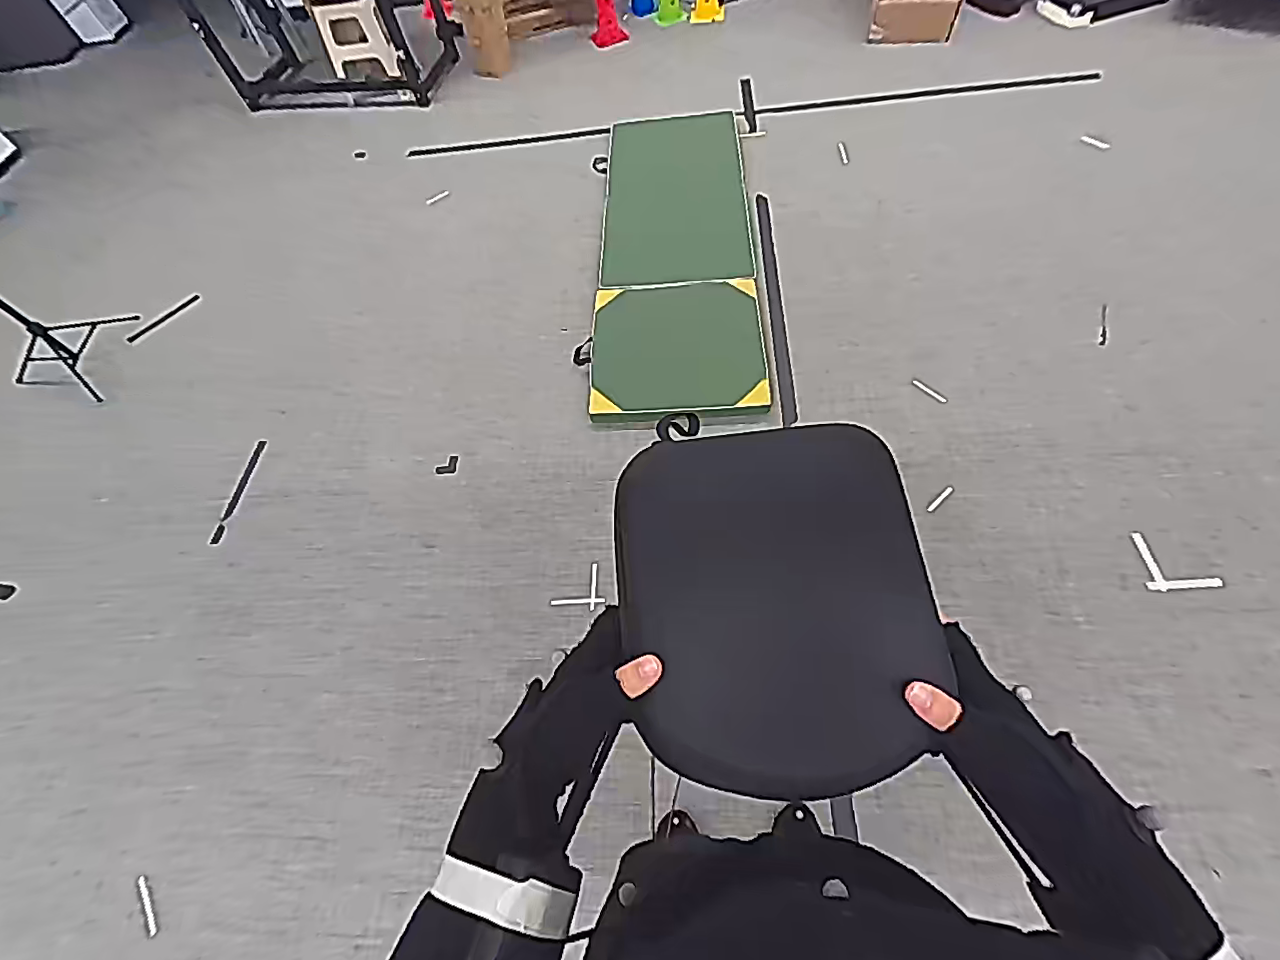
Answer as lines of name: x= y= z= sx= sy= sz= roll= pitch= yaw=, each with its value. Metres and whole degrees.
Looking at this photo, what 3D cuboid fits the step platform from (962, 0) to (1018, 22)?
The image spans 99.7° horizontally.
step platform: x=2.104 y=-2.713 z=2.896 sx=0.684 sy=0.204 sz=0.286 roll=-28 pitch=61 yaw=-9
